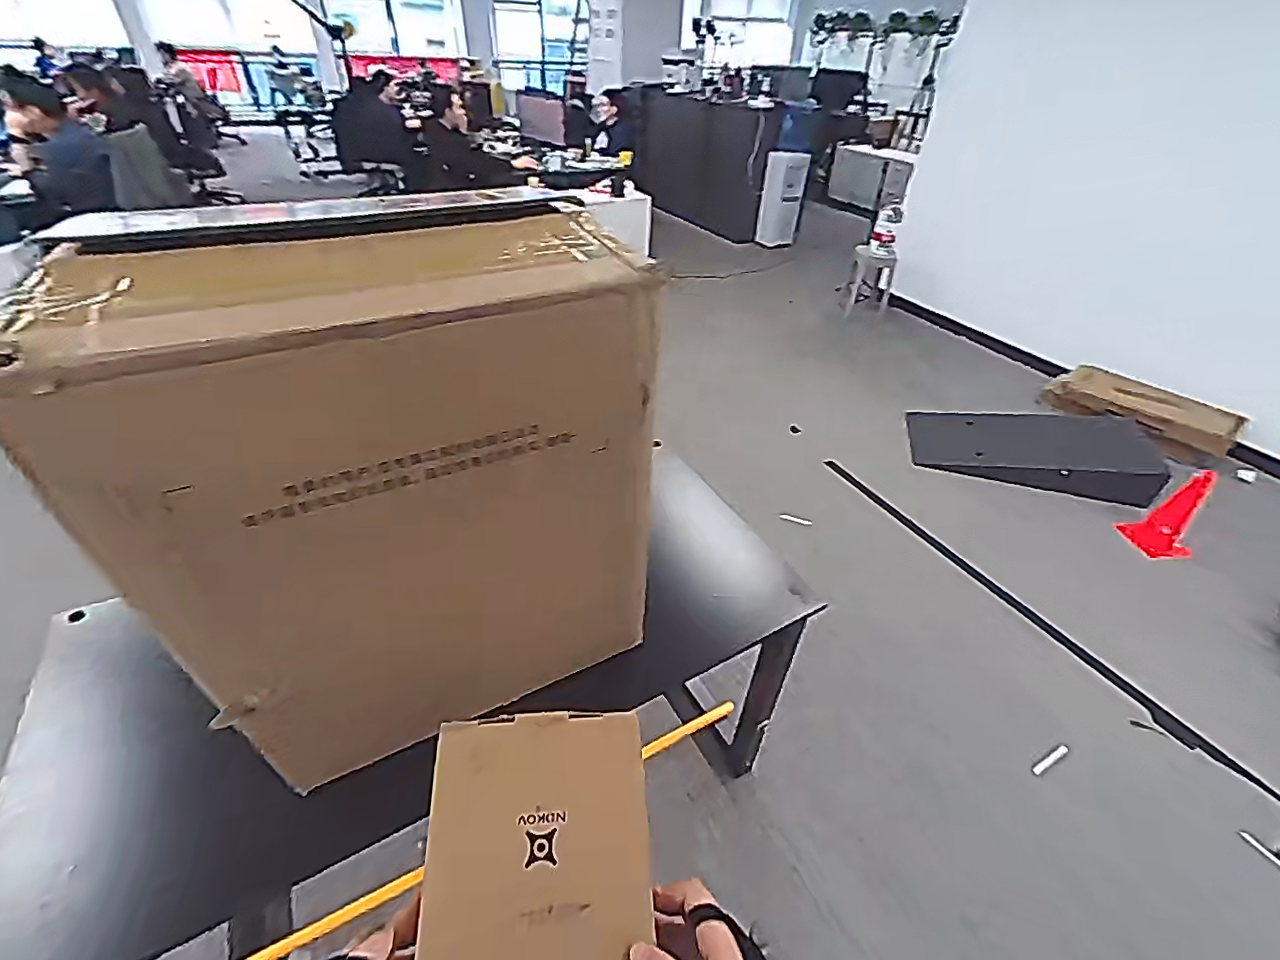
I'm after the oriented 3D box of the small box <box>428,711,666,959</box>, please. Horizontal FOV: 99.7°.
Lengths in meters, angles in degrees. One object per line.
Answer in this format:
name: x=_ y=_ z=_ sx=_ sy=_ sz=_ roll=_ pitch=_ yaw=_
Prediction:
small box: x=-0.079 y=0.315 z=0.474 sx=0.168 sy=0.176 sz=0.179 roll=1 pitch=57 yaw=-10
